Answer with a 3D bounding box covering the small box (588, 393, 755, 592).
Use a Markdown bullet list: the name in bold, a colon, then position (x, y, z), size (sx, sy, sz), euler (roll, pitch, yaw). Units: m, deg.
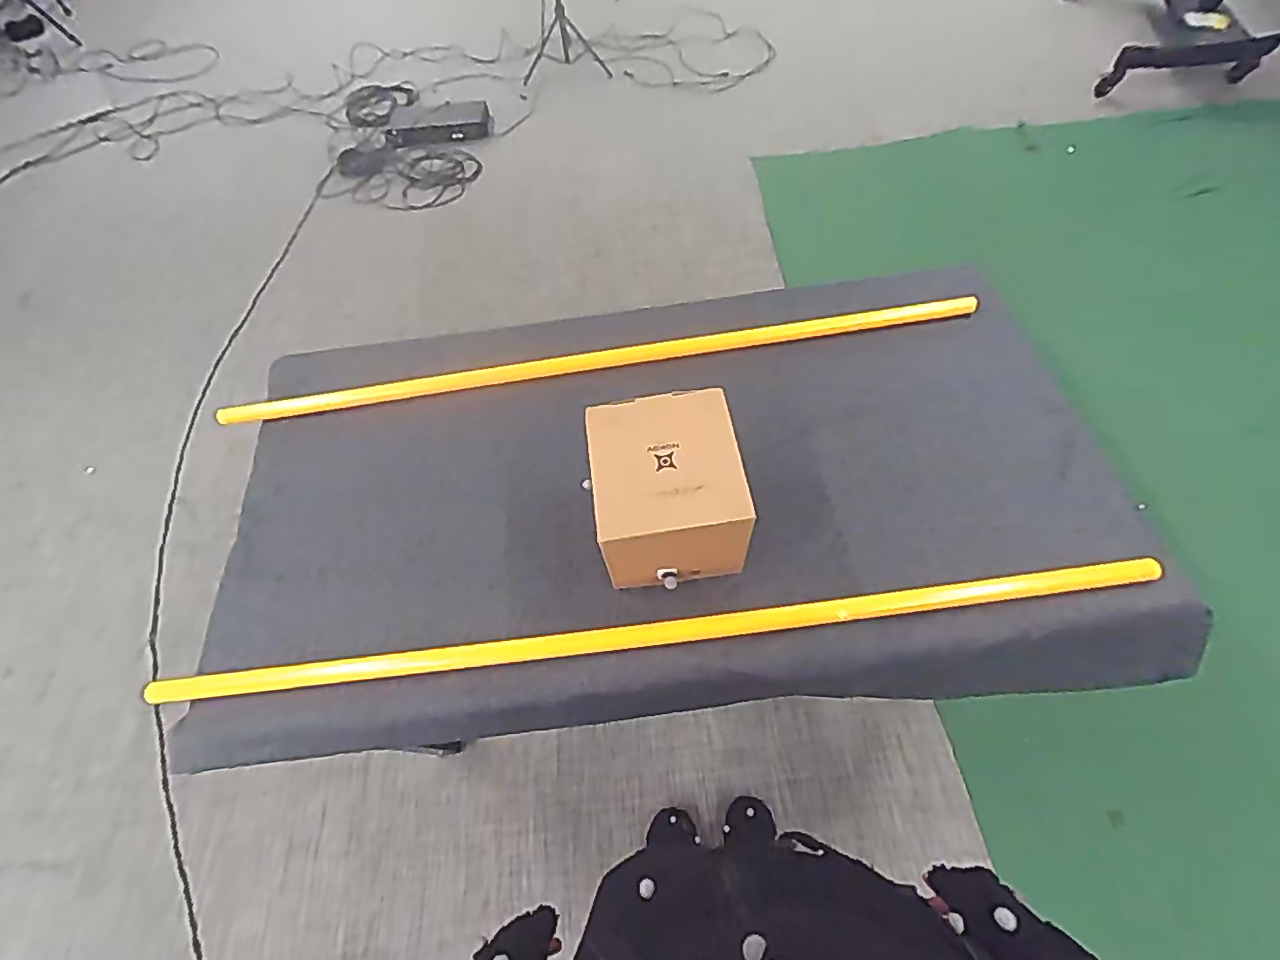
- **small box**: position (0.034, 0.021, 0.668), size (0.168, 0.176, 0.179), euler (-9, 61, 0)
